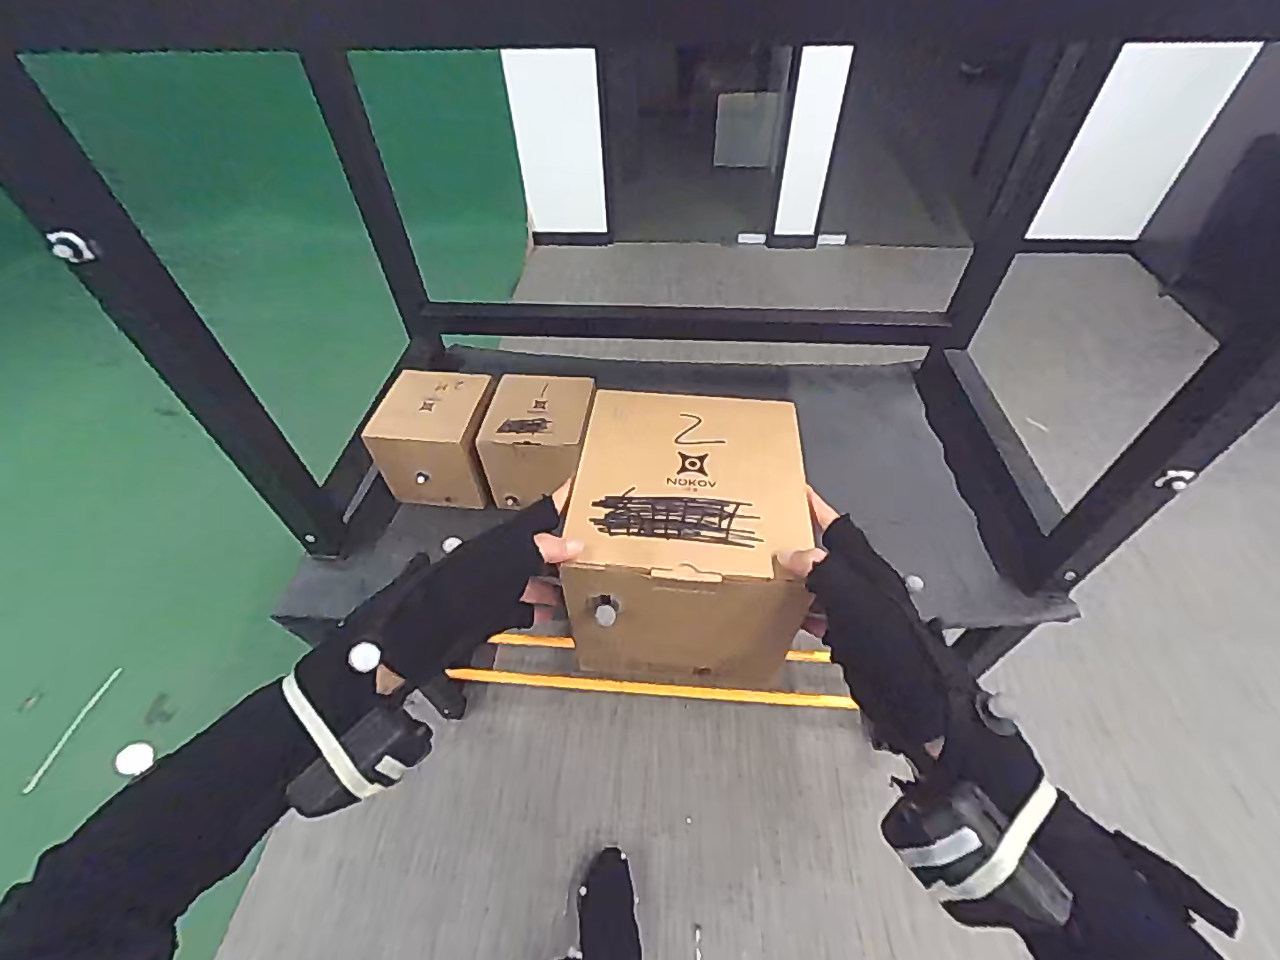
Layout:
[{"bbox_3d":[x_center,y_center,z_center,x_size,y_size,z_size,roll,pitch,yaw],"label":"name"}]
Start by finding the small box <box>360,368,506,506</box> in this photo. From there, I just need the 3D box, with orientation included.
[{"bbox_3d":[-0.348,-0.074,0.954,0.168,0.176,0.179,5,48,5],"label":"small box"}]
